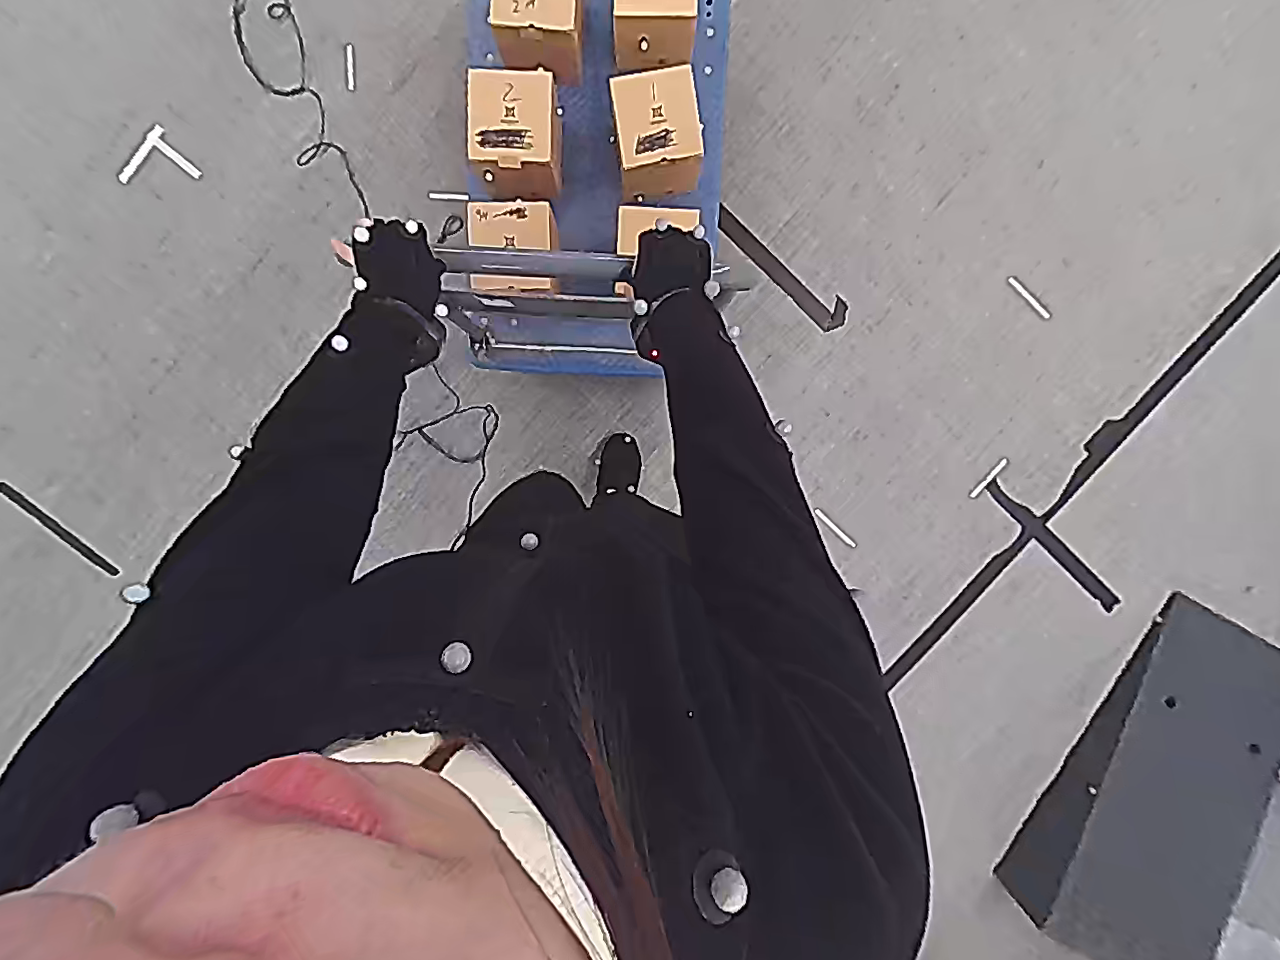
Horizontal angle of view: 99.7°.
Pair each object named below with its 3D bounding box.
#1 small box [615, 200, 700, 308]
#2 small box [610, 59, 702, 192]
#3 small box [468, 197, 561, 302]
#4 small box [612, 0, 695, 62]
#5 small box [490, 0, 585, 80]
[{"bbox_3d":[0.035,-0.481,1.176,0.168,0.176,0.179,3,95,-2],"label":"small box"},{"bbox_3d":[0.033,-0.738,1.150,0.168,0.176,0.179,-10,95,0],"label":"small box"},{"bbox_3d":[-0.263,-0.489,1.169,0.168,0.176,0.179,-1,96,-2],"label":"small box"},{"bbox_3d":[0.029,-1.010,1.125,0.168,0.176,0.179,0,95,-1],"label":"small box"},{"bbox_3d":[-0.205,-0.983,1.122,0.168,0.176,0.179,4,96,-1],"label":"small box"}]
